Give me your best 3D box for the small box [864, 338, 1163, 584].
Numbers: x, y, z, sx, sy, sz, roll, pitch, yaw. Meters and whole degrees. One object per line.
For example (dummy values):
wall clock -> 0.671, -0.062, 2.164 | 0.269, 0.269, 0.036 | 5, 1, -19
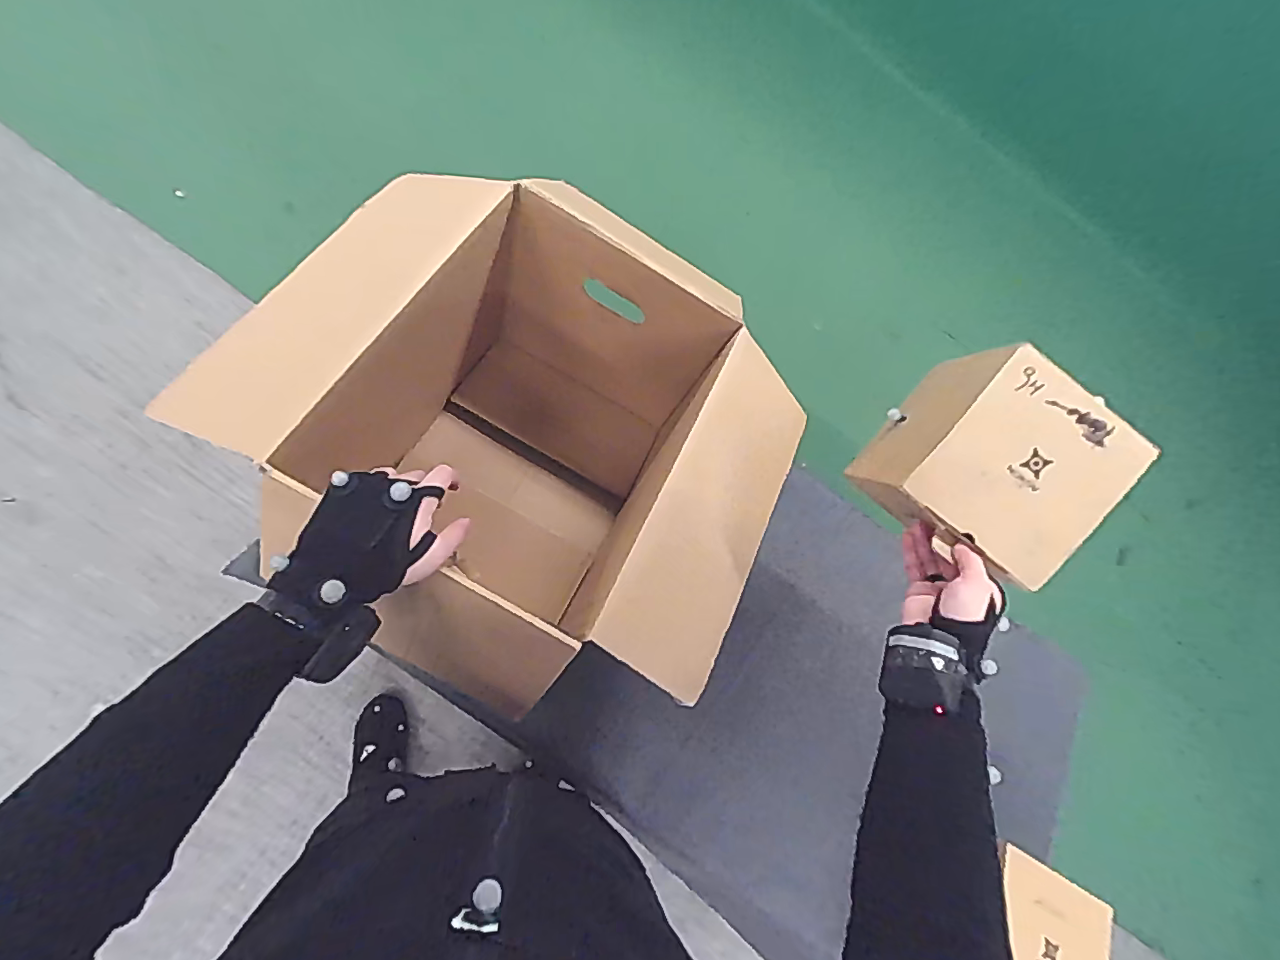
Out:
small box -> 0.373, -0.023, 0.586 | 0.168, 0.176, 0.179 | 39, 96, -1
